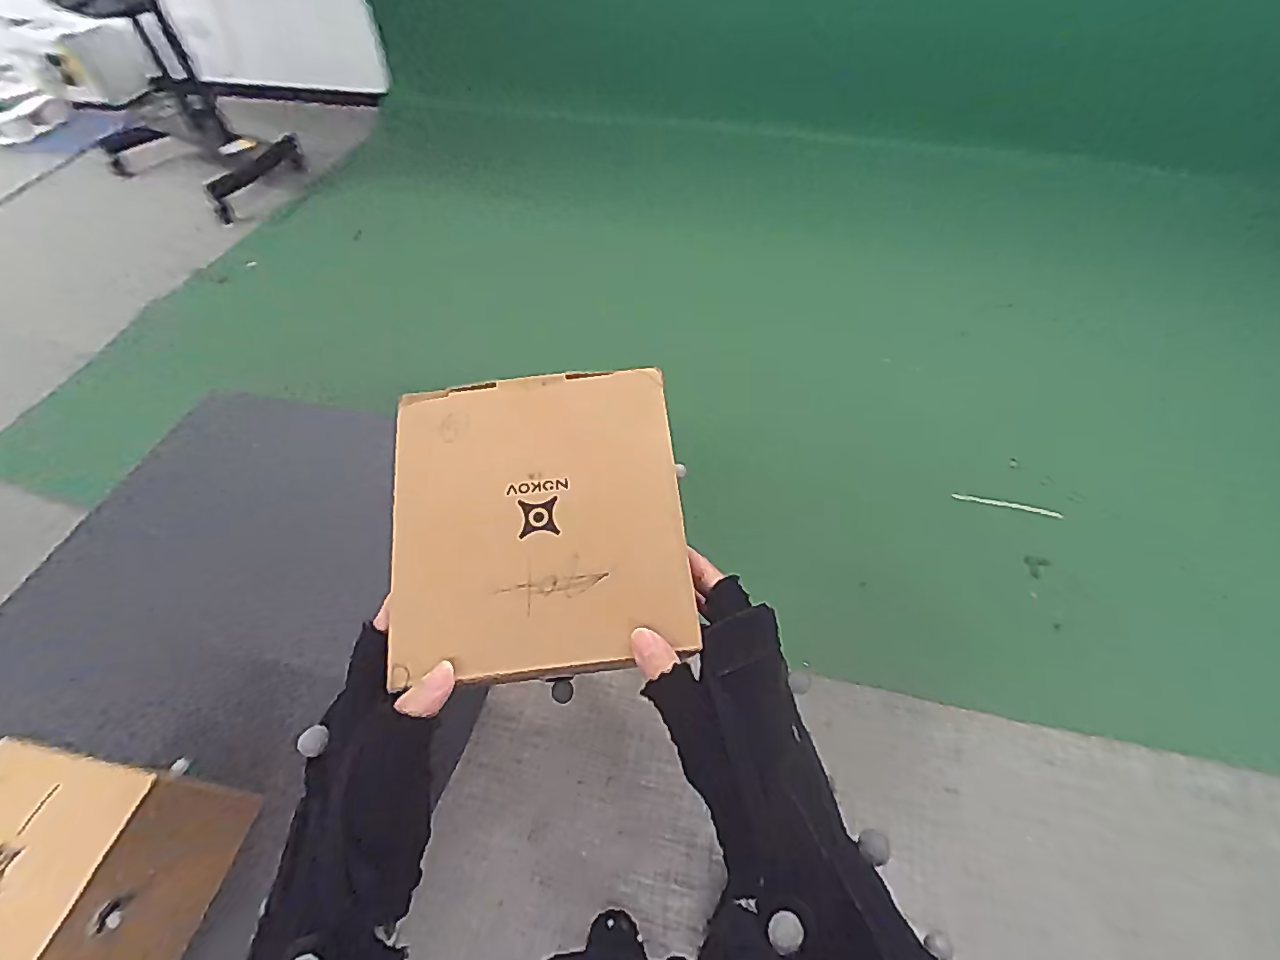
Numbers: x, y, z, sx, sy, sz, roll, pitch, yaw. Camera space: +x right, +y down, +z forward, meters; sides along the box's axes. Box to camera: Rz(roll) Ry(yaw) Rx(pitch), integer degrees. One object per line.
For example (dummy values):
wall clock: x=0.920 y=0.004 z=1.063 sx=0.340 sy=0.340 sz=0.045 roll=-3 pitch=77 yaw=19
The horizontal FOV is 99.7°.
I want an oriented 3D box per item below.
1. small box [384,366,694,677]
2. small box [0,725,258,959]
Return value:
small box: x=-0.058 y=0.042 z=0.386 sx=0.168 sy=0.176 sz=0.179 roll=-6 pitch=71 yaw=0
small box: x=-0.518 y=0.357 z=0.510 sx=0.168 sy=0.176 sz=0.179 roll=9 pitch=54 yaw=8
